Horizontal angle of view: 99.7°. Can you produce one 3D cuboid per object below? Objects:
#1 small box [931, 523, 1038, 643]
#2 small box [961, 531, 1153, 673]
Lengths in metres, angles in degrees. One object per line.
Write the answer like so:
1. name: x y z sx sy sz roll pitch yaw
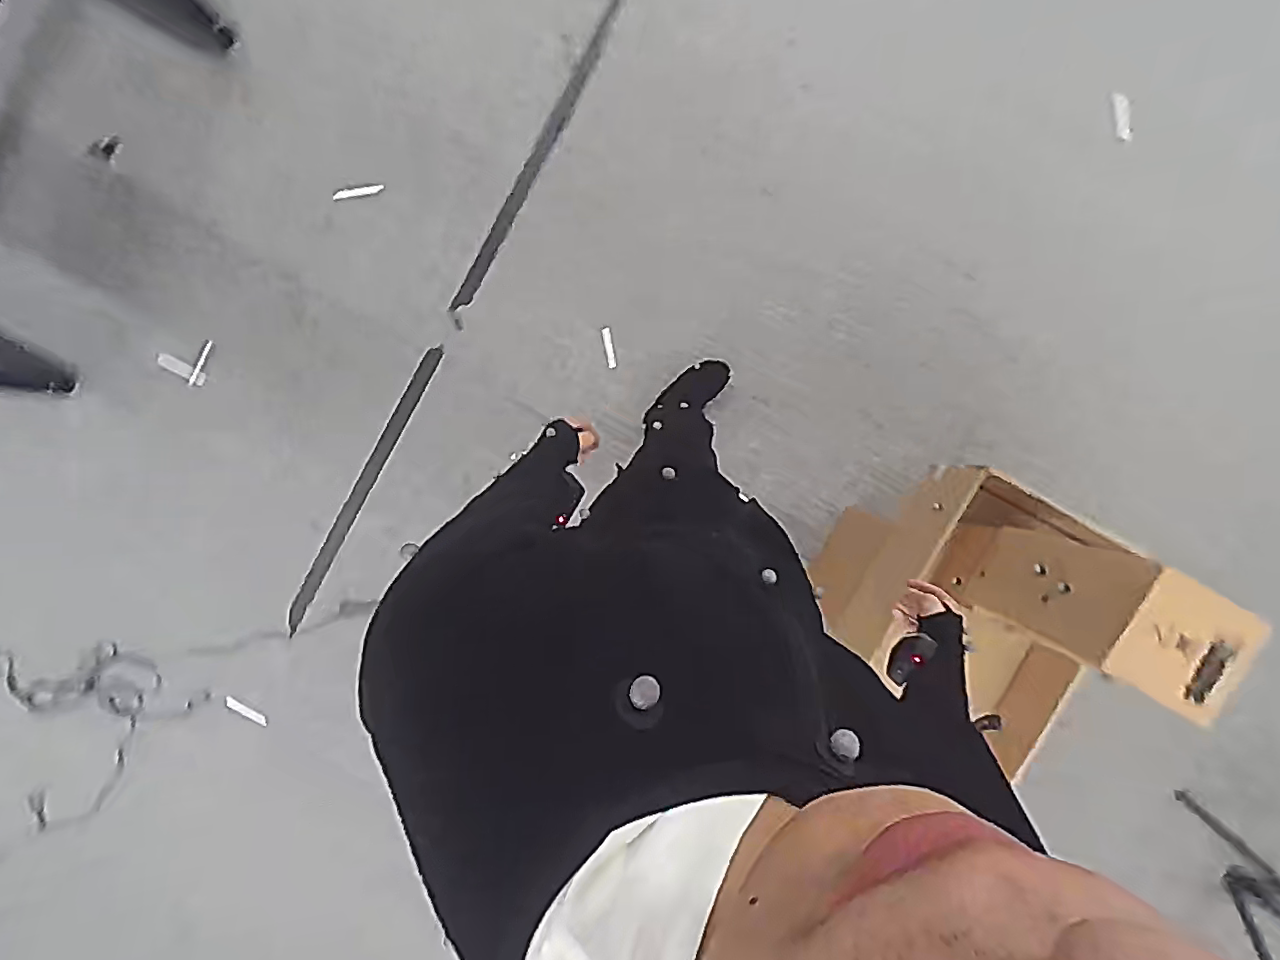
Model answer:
1. small box: 0.754 0.207 1.140 0.168 0.176 0.179 24 93 -2
2. small box: 0.738 0.207 0.977 0.179 0.176 0.168 29 93 -3
